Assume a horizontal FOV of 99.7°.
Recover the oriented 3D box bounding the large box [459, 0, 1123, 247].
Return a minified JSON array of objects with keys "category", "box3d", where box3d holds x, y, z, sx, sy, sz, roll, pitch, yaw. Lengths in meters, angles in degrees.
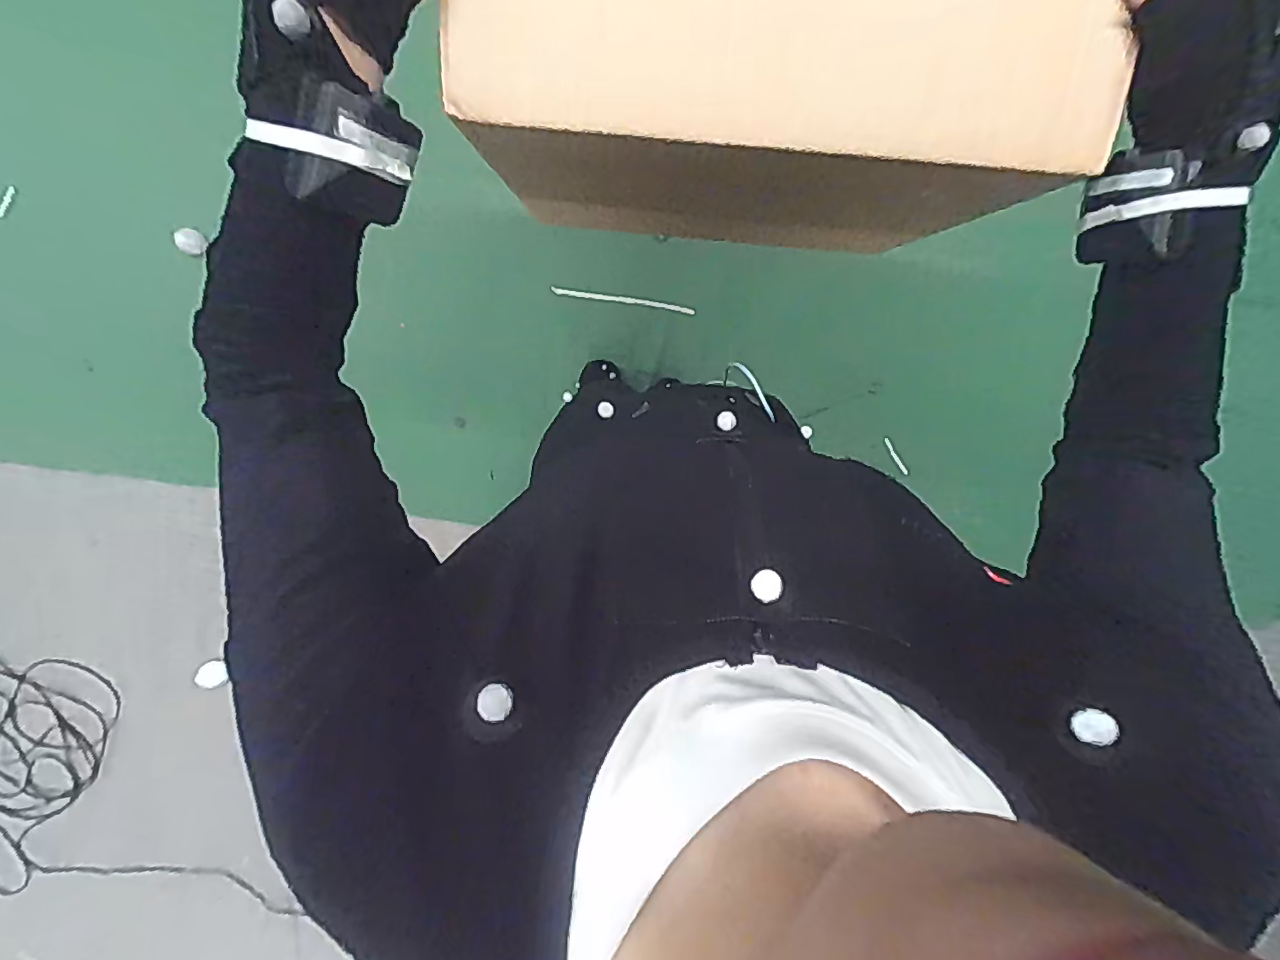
[{"category":"large box","box3d":[0.092,-0.395,0.449,0.408,0.320,0.320,4,105,-1]}]
